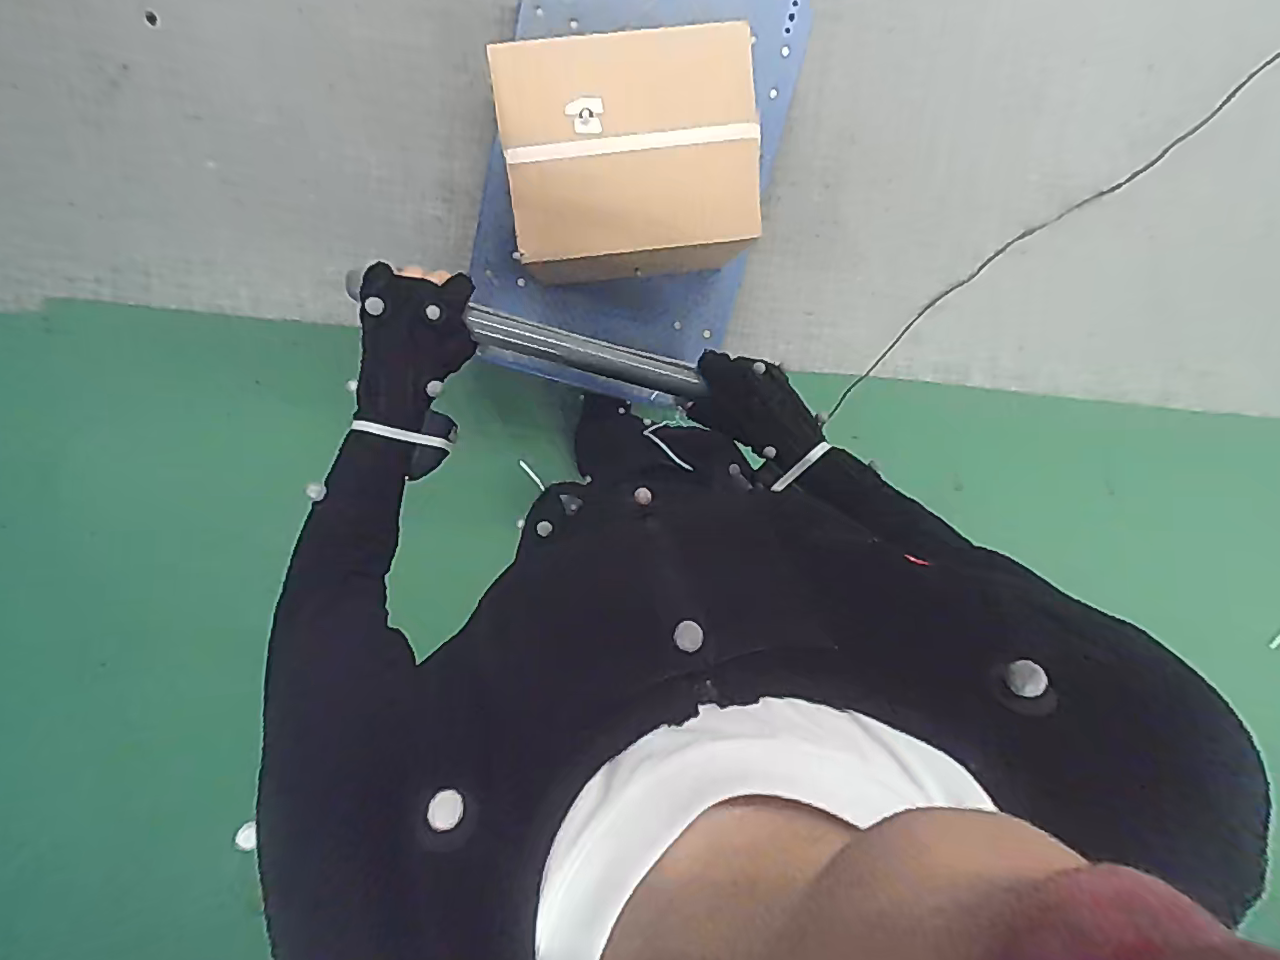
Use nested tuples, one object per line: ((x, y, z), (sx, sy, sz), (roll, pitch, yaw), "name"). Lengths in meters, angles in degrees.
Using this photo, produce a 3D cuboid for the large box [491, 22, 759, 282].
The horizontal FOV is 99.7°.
((-0.021, -0.568, 1.008), (0.408, 0.320, 0.320), (-7, 103, -1), "large box")
